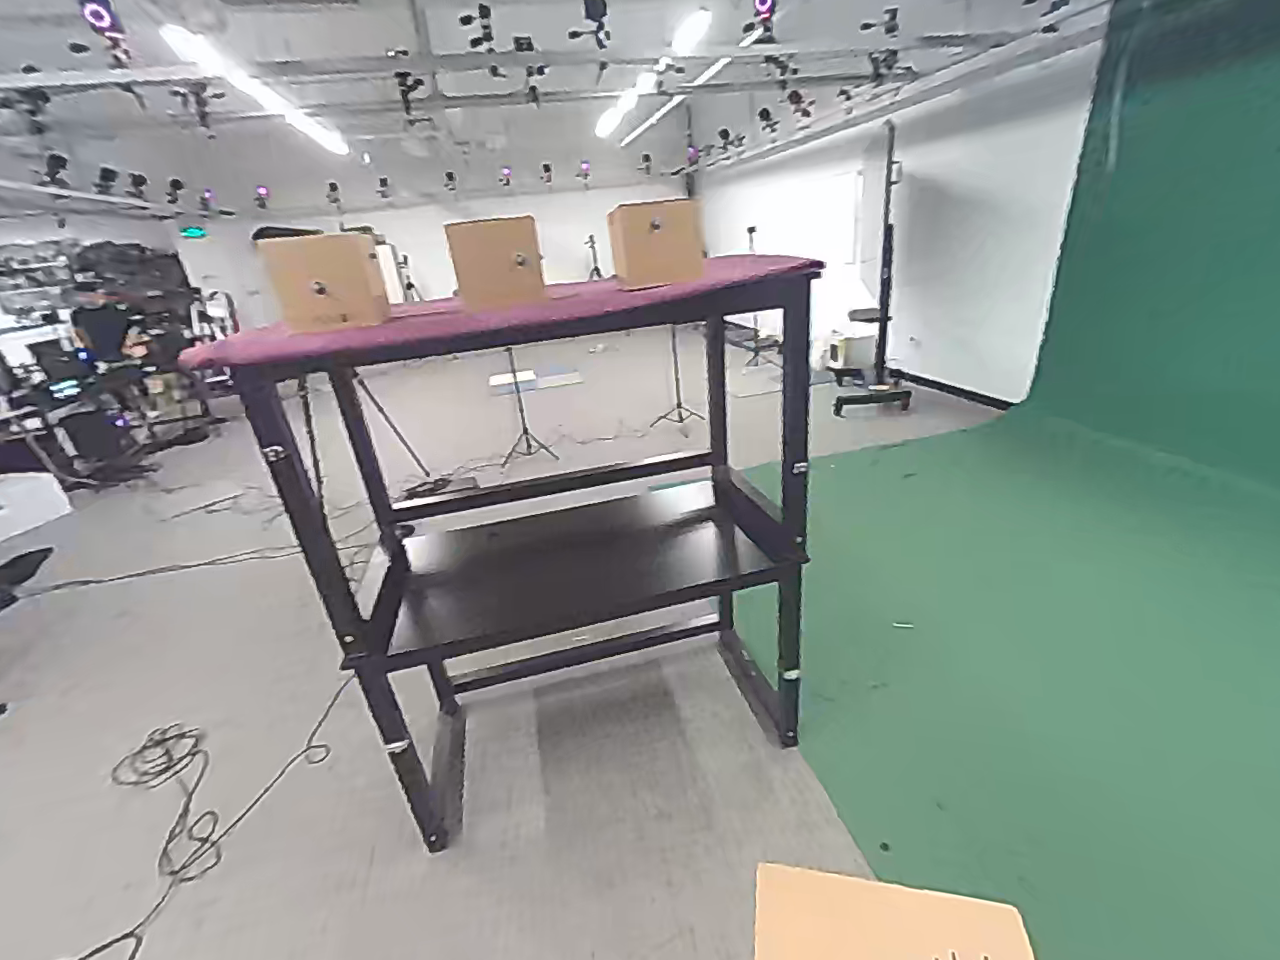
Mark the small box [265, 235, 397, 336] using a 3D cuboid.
[{"bbox_3d":[-0.598,-0.386,1.075,0.168,0.176,0.179,-10,25,-11],"label":"small box"}]

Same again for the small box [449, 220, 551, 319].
[{"bbox_3d":[-0.289,-0.445,1.140,0.179,0.176,0.168,-12,24,-11],"label":"small box"}]

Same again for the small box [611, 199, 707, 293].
[{"bbox_3d":[0.043,-0.520,1.219,0.179,0.176,0.168,-10,22,-9],"label":"small box"}]
